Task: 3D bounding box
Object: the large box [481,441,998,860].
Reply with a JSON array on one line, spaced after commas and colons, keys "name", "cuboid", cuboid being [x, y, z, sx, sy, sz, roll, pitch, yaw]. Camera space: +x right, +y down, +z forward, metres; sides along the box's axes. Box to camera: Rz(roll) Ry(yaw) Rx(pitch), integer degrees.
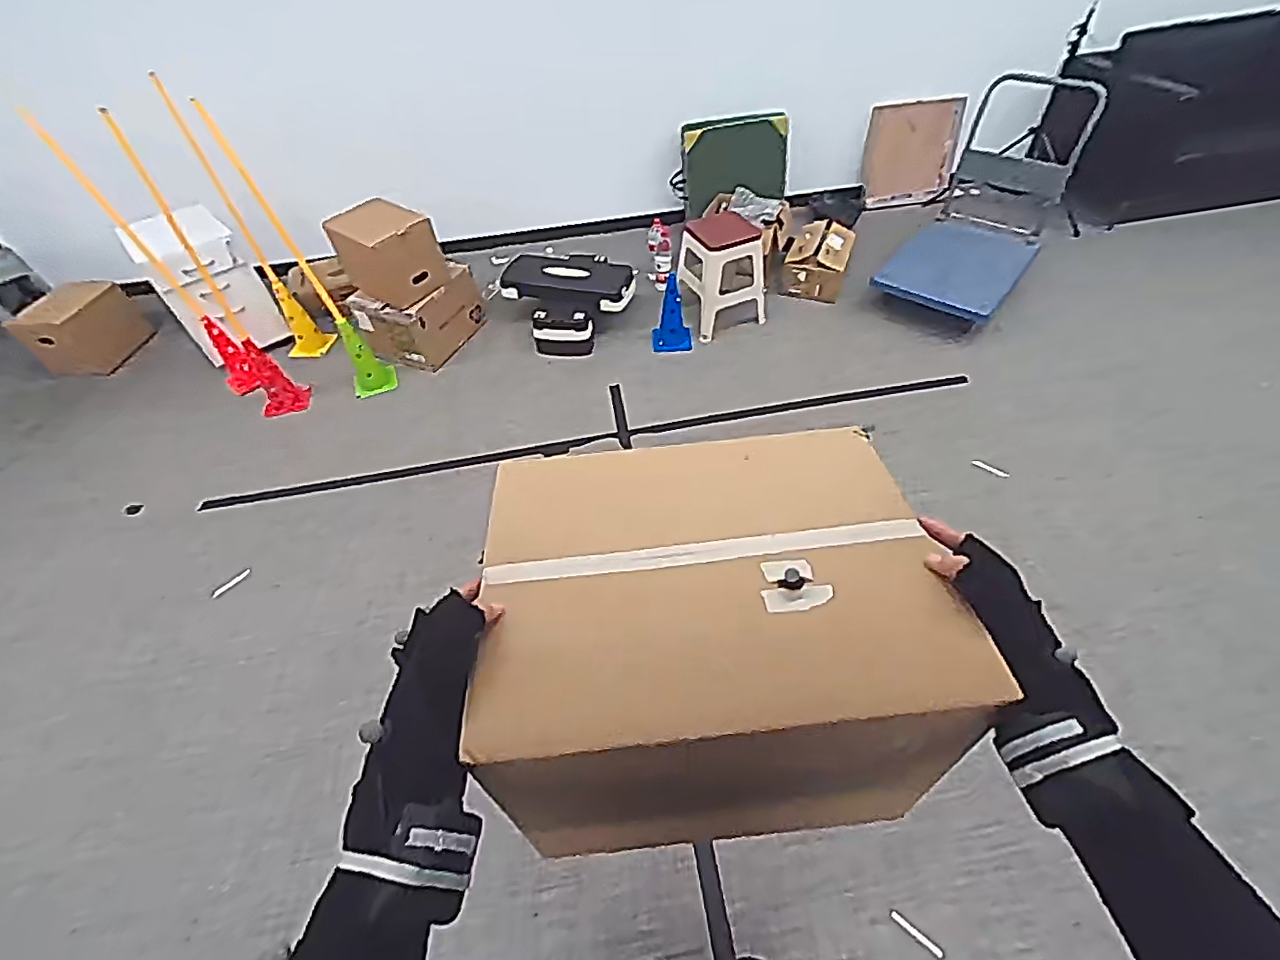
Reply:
[{"name": "large box", "cuboid": [0.070, 0.188, 0.610, 0.408, 0.320, 0.320, -6, 44, -1]}]
